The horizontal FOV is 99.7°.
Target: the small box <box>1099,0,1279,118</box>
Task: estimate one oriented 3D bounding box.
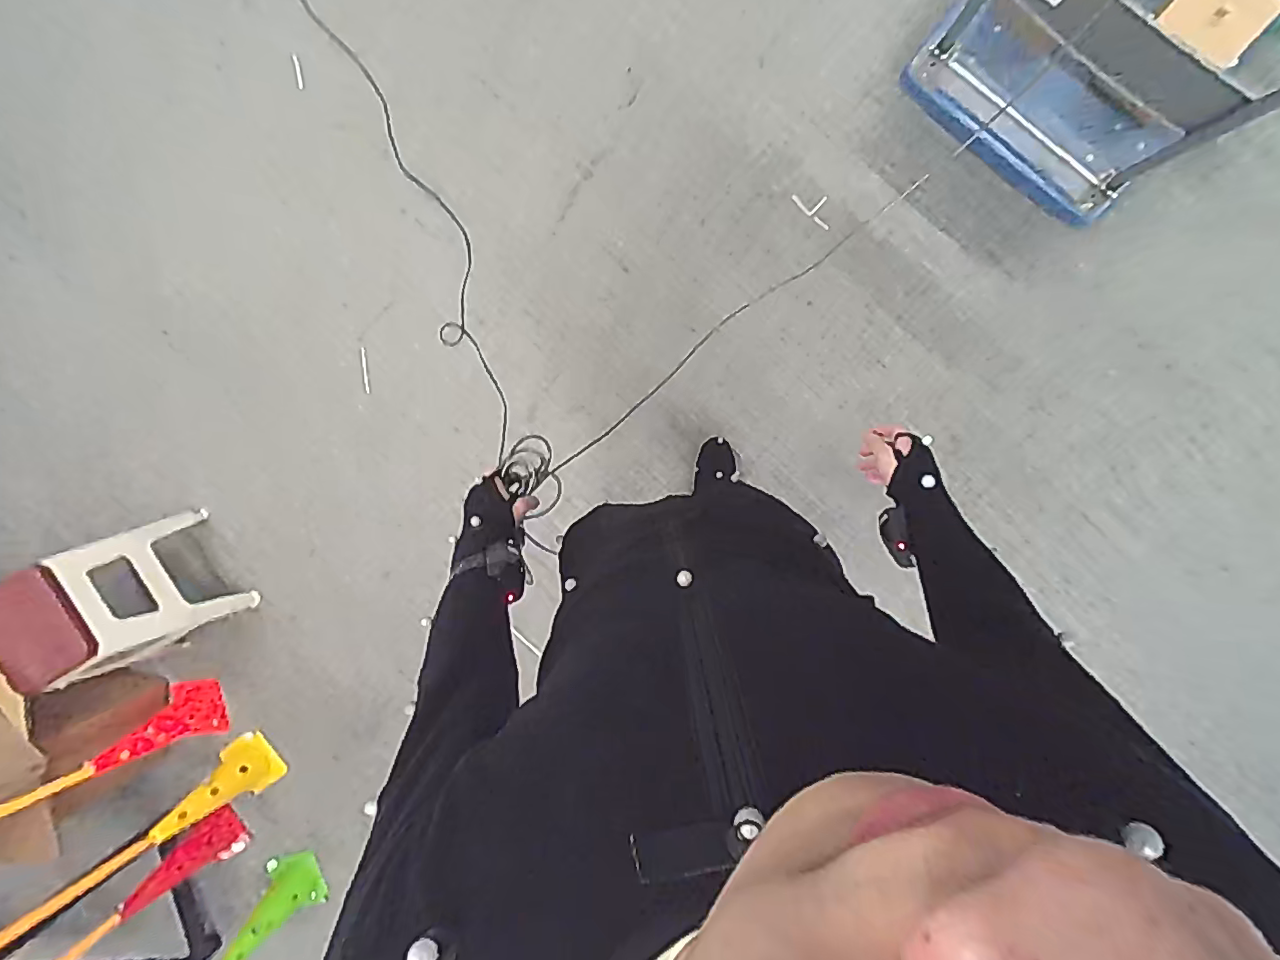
[{"bbox_3d":[1.119,-0.905,1.110,0.168,0.176,0.179,41,102,0],"label":"small box"}]
